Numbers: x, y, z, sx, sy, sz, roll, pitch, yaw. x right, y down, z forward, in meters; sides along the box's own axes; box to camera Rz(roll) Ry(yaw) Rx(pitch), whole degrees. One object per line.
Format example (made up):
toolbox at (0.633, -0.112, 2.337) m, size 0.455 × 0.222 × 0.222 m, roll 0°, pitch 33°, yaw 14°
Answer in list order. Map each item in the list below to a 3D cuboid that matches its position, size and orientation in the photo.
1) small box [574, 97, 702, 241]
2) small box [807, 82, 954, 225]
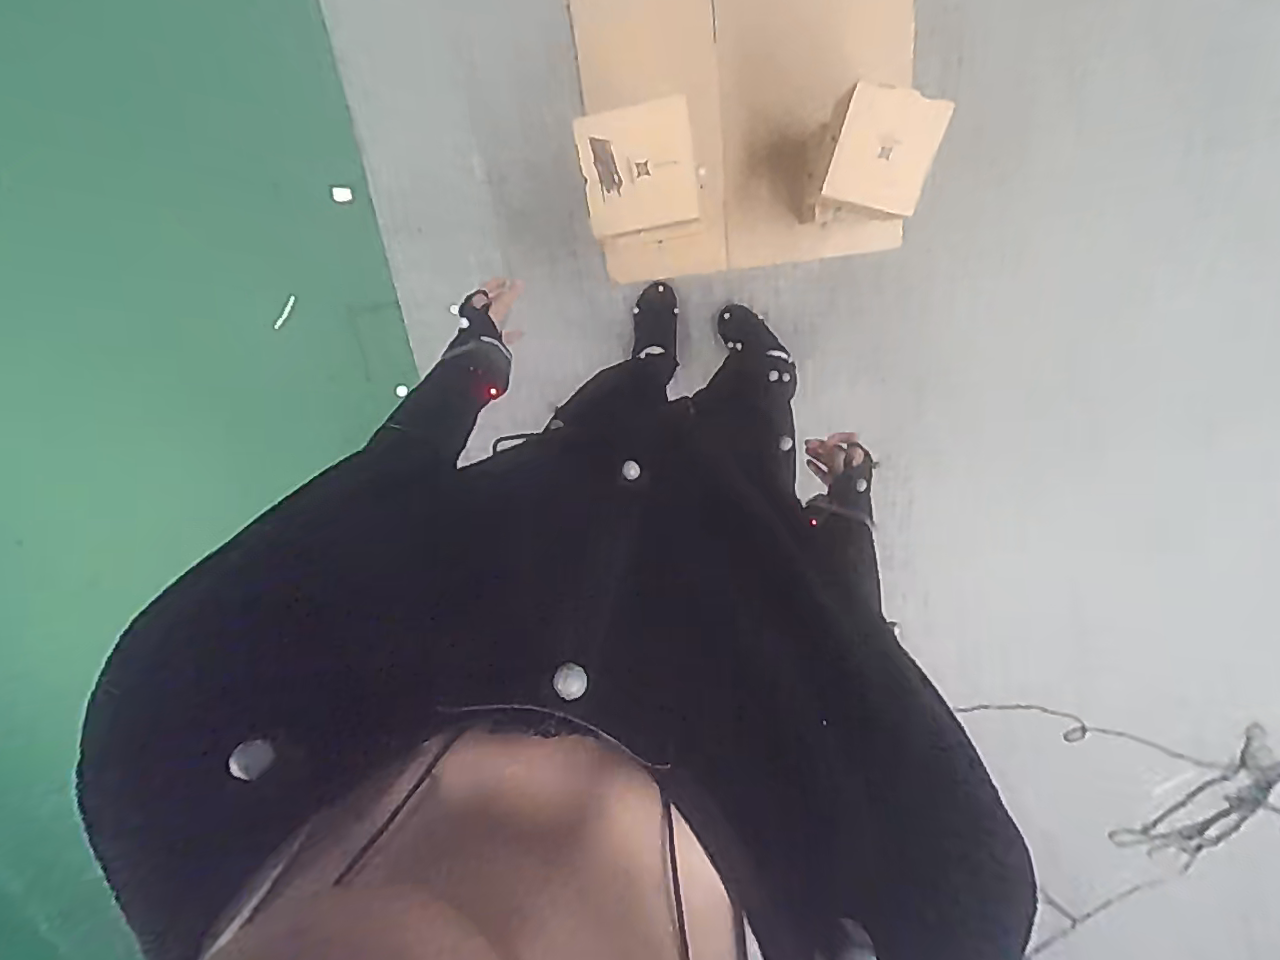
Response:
small box at (0.007, -0.496, 0.890) m, size 0.179 × 0.176 × 0.168 m, roll -7°, pitch 112°, yaw 9°
small box at (0.421, -0.579, 0.983) m, size 0.168 × 0.176 × 0.179 m, roll 15°, pitch 113°, yaw -1°
